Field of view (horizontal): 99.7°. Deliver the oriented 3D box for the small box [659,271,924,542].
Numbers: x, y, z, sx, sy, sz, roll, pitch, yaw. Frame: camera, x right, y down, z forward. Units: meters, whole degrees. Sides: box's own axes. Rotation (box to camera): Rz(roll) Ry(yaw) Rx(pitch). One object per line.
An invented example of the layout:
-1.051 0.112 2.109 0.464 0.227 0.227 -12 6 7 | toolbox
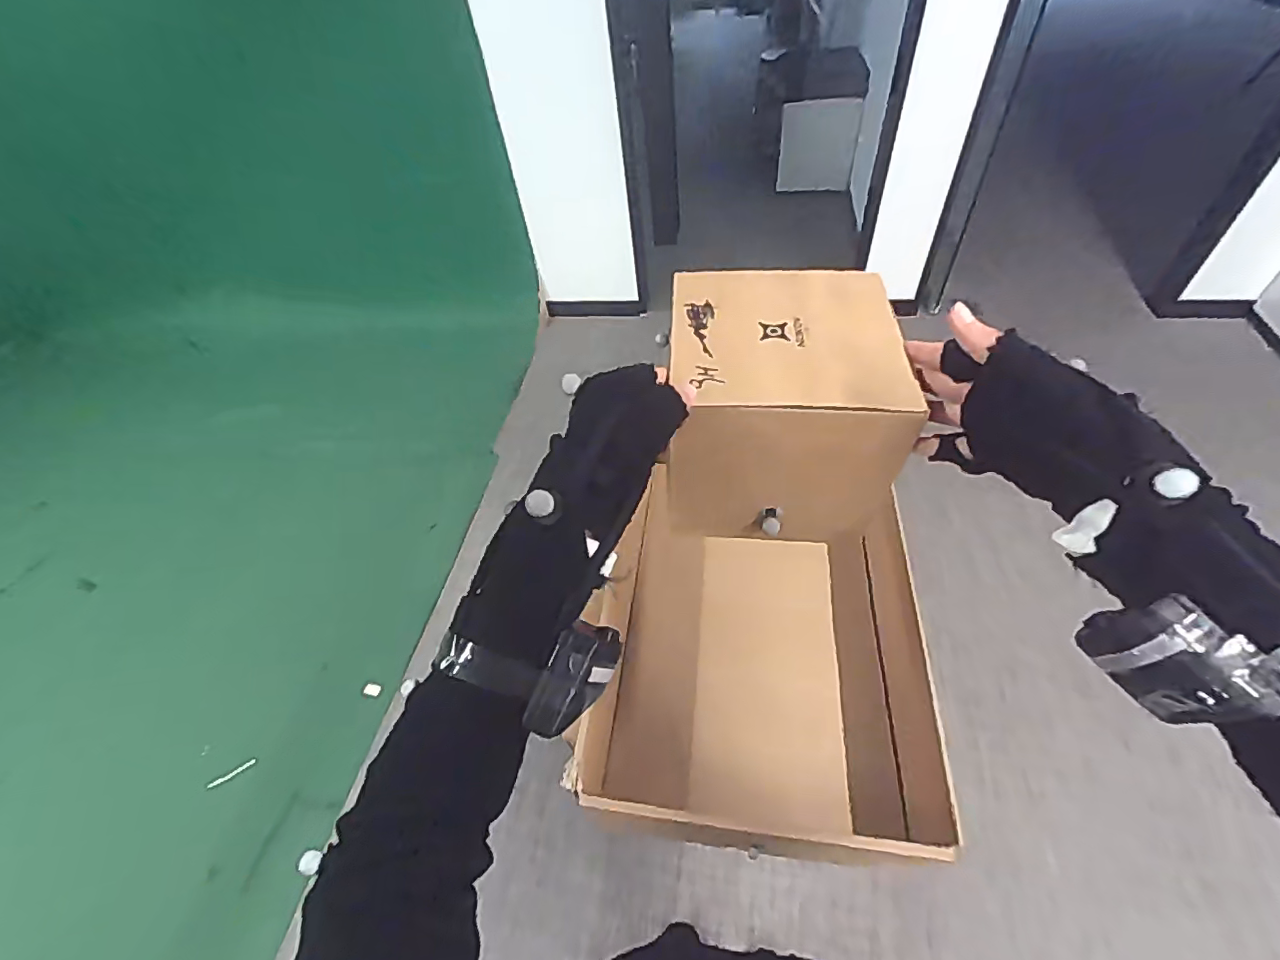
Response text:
0.111 -0.059 0.474 0.179 0.176 0.168 3 51 4 | small box
